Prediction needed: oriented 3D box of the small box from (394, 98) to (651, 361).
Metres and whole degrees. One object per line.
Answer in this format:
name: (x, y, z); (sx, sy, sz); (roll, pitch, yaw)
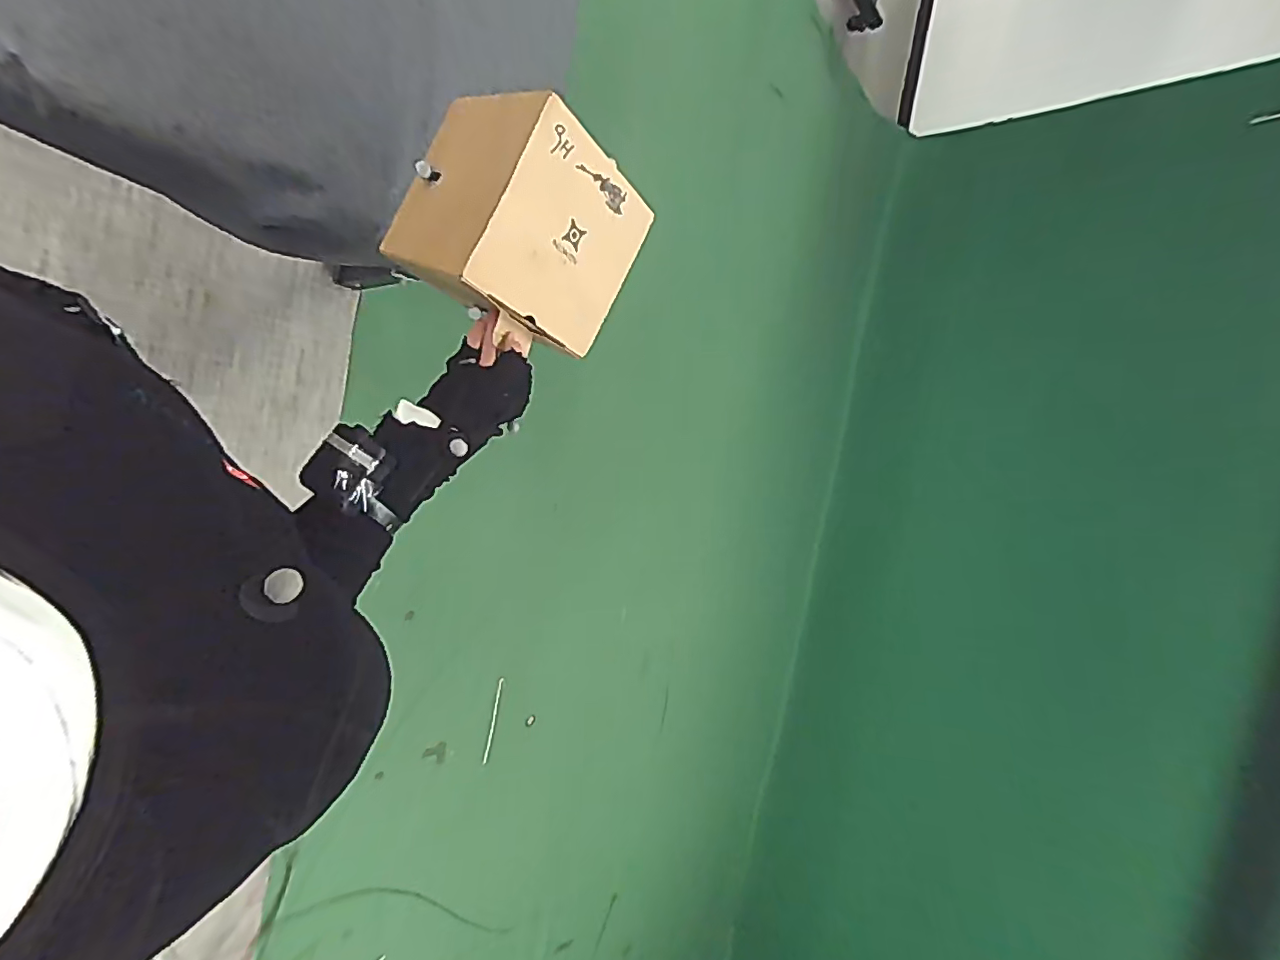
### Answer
small box: (-0.127, -0.256, 0.566); (0.168, 0.176, 0.179); (24, 95, -54)
